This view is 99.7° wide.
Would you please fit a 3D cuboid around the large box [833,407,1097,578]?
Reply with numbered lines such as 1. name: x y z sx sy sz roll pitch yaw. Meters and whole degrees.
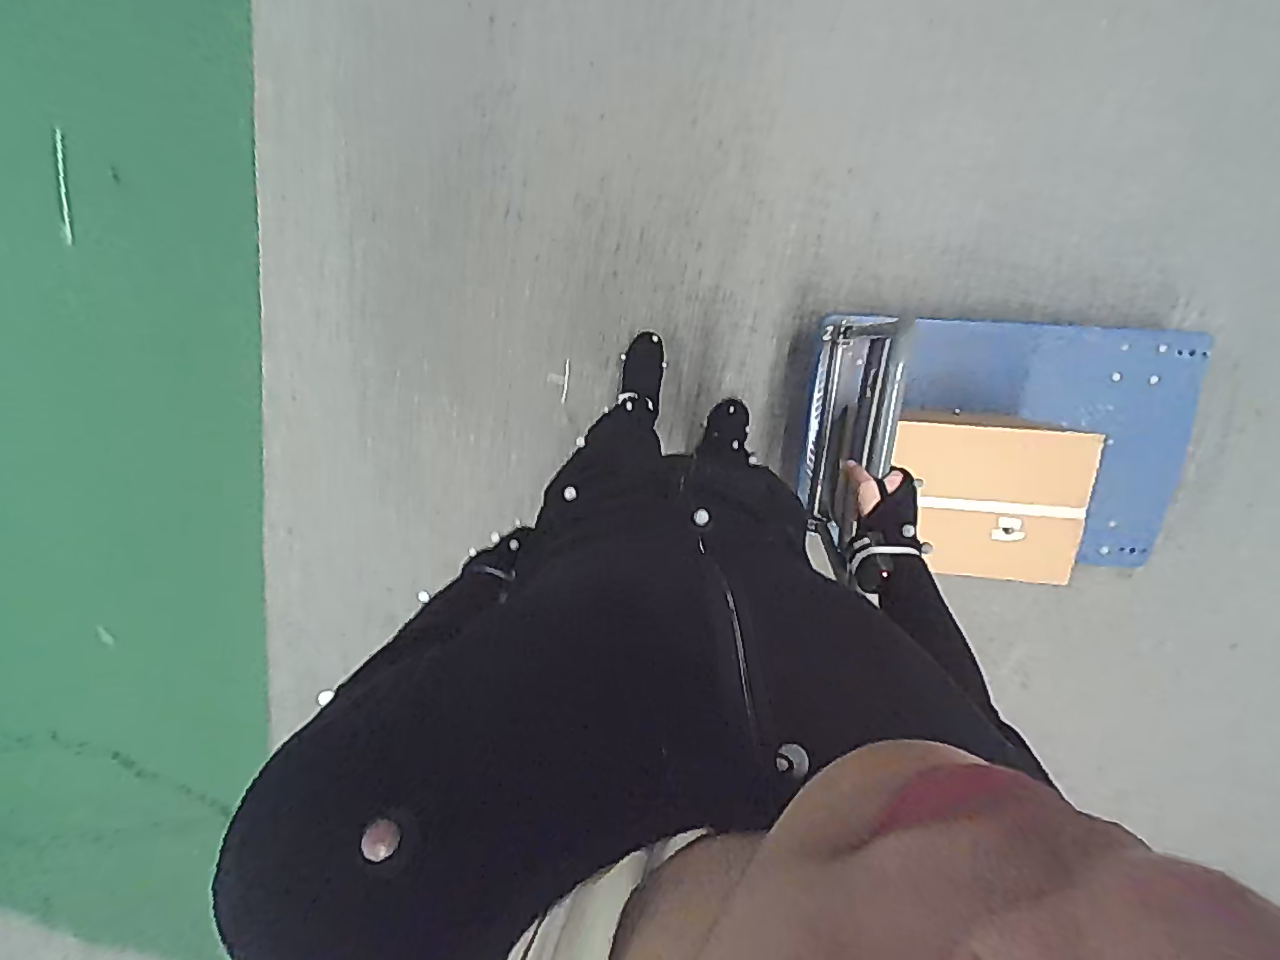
1. large box: 0.691 0.007 1.234 0.408 0.320 0.320 5 105 6
